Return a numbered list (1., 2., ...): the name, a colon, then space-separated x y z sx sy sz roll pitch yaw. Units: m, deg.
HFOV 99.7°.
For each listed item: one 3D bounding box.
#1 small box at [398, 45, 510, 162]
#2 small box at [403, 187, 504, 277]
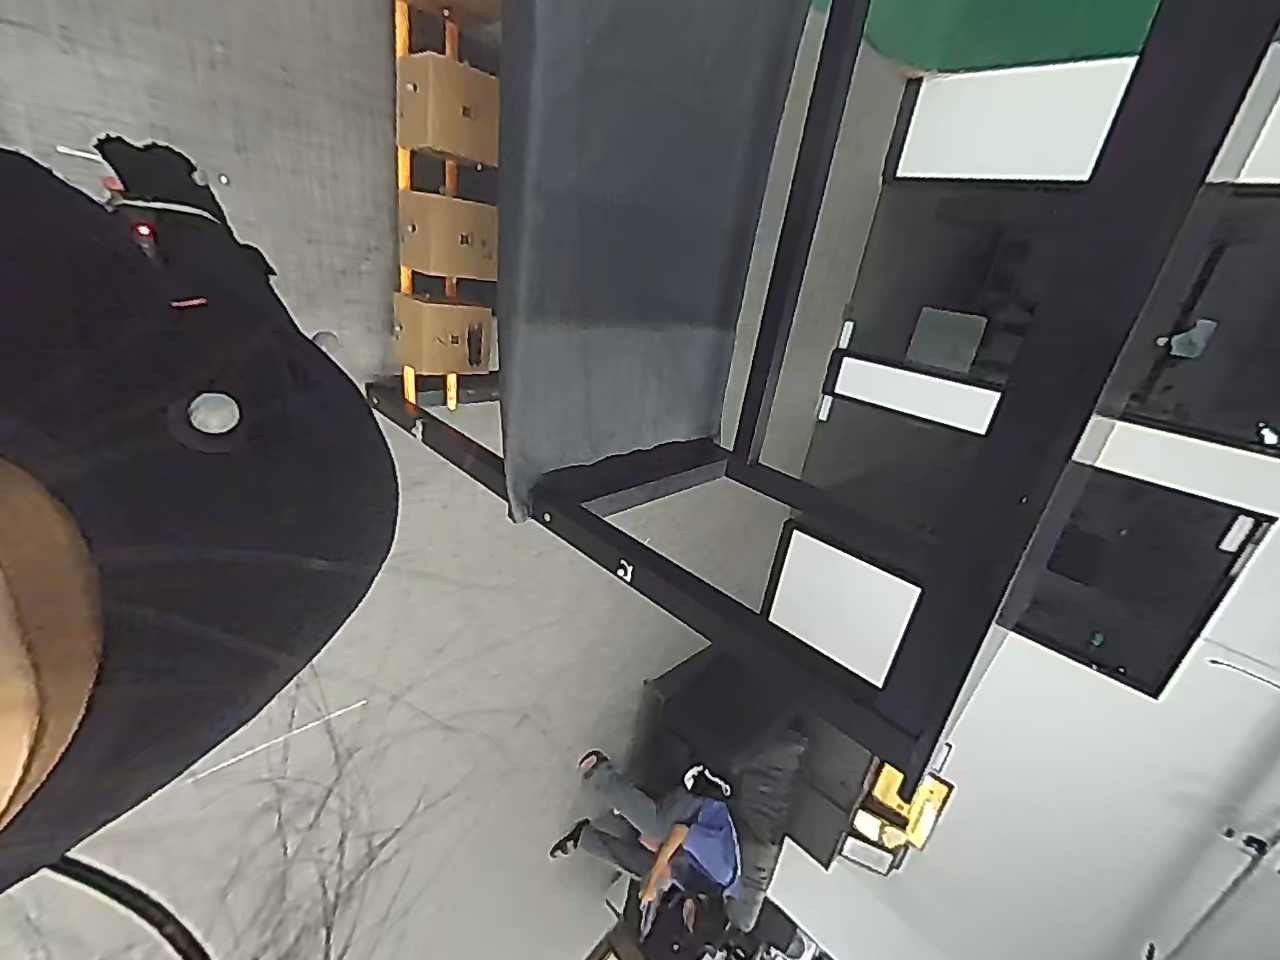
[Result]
1. small box: -0.409 -0.806 1.176 0.179 0.176 0.168 -12 122 -44
2. small box: -0.443 -0.582 1.272 0.179 0.176 0.168 -14 122 -44
